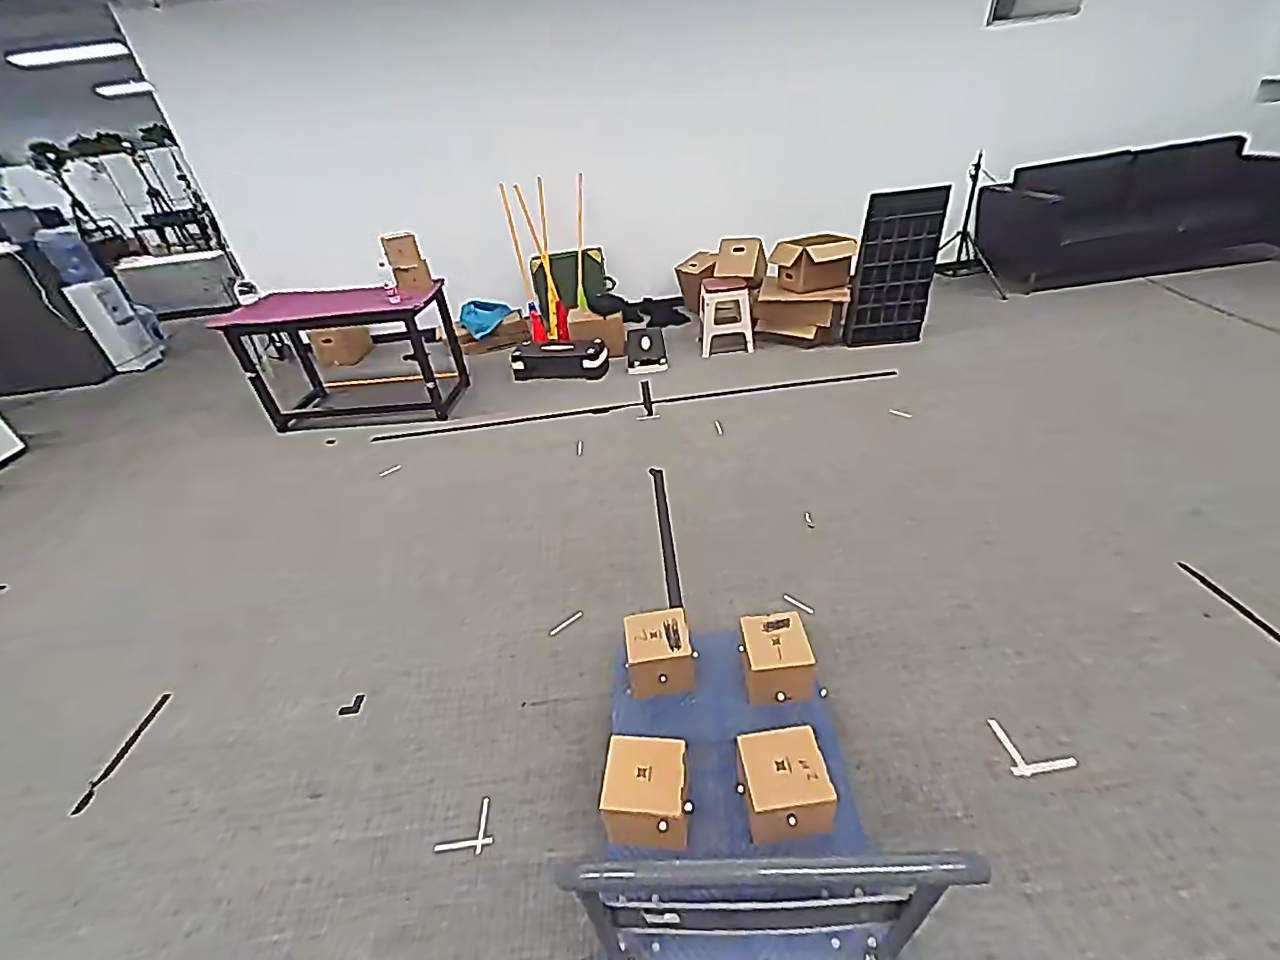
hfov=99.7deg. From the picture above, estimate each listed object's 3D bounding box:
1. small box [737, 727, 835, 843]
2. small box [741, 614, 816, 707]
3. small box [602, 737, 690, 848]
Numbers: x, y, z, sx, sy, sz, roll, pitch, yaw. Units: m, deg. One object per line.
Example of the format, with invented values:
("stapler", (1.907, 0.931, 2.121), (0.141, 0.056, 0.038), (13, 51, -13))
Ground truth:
("small box", (0.325, 0.693, 1.227), (0.179, 0.176, 0.168), (-8, 35, 0))
("small box", (0.375, 0.498, 1.498), (0.168, 0.176, 0.179), (-7, 35, 2))
("small box", (0.020, 0.720, 1.247), (0.179, 0.176, 0.168), (0, 34, 8))
